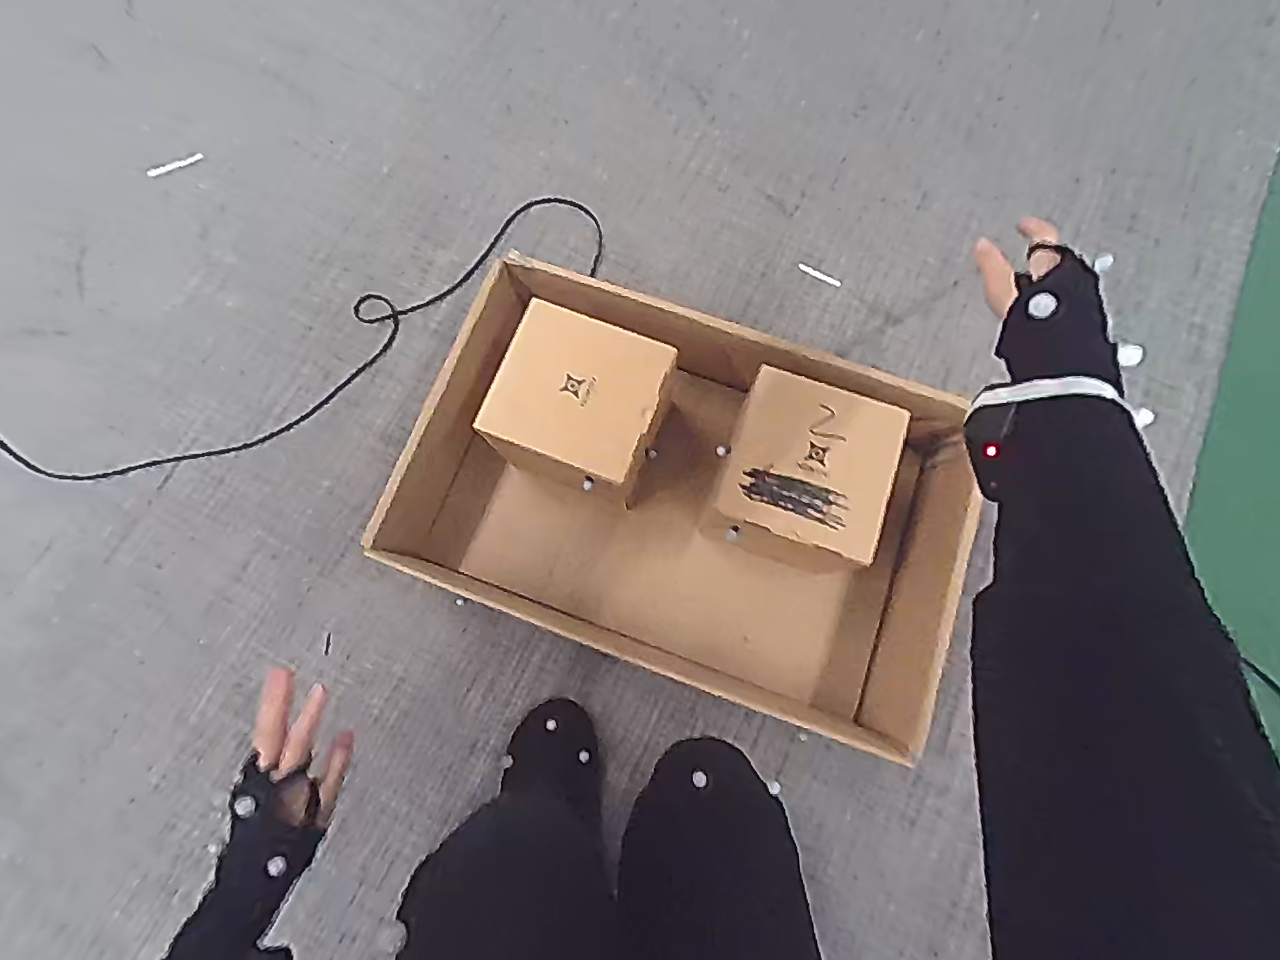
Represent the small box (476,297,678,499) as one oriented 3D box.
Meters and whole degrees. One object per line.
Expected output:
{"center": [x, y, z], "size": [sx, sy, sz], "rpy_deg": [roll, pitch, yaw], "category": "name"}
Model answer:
{"center": [-0.068, -0.087, 0.664], "size": [0.179, 0.176, 0.168], "rpy_deg": [21, 79, 4], "category": "small box"}
